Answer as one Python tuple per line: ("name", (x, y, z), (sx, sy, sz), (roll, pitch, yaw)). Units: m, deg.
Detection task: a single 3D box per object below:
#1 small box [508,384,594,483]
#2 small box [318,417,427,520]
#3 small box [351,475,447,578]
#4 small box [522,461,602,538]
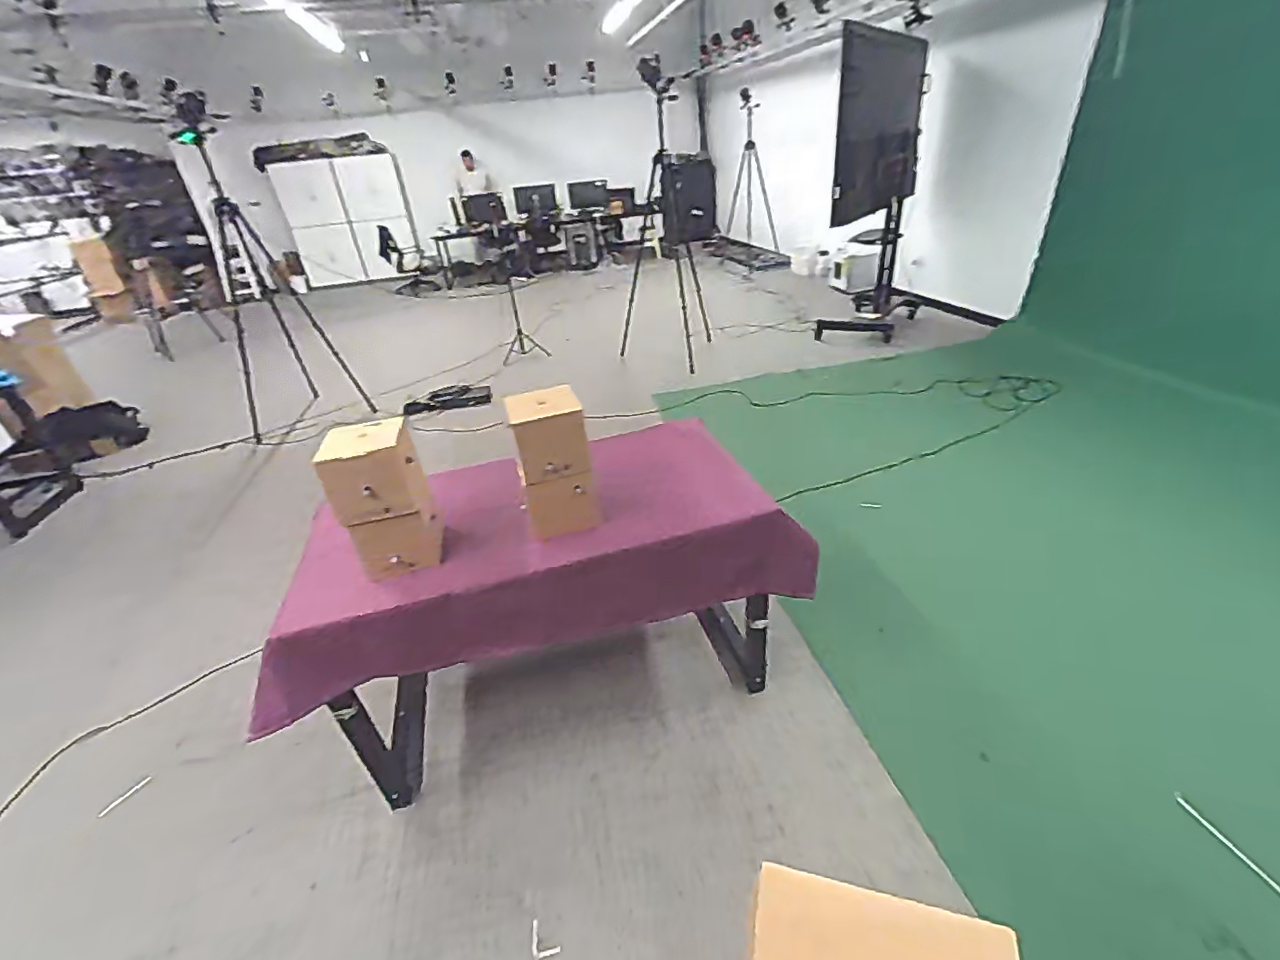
("small box", (-0.218, -0.114, 1.321), (0.168, 0.176, 0.179), (-14, 33, -11))
("small box", (-0.601, -0.022, 1.242), (0.168, 0.176, 0.179), (-11, 32, -9))
("small box", (-0.584, 0.113, 1.335), (0.168, 0.176, 0.179), (-12, 33, -9))
("small box", (-0.200, 0.025, 1.404), (0.179, 0.176, 0.168), (-13, 31, -11))
